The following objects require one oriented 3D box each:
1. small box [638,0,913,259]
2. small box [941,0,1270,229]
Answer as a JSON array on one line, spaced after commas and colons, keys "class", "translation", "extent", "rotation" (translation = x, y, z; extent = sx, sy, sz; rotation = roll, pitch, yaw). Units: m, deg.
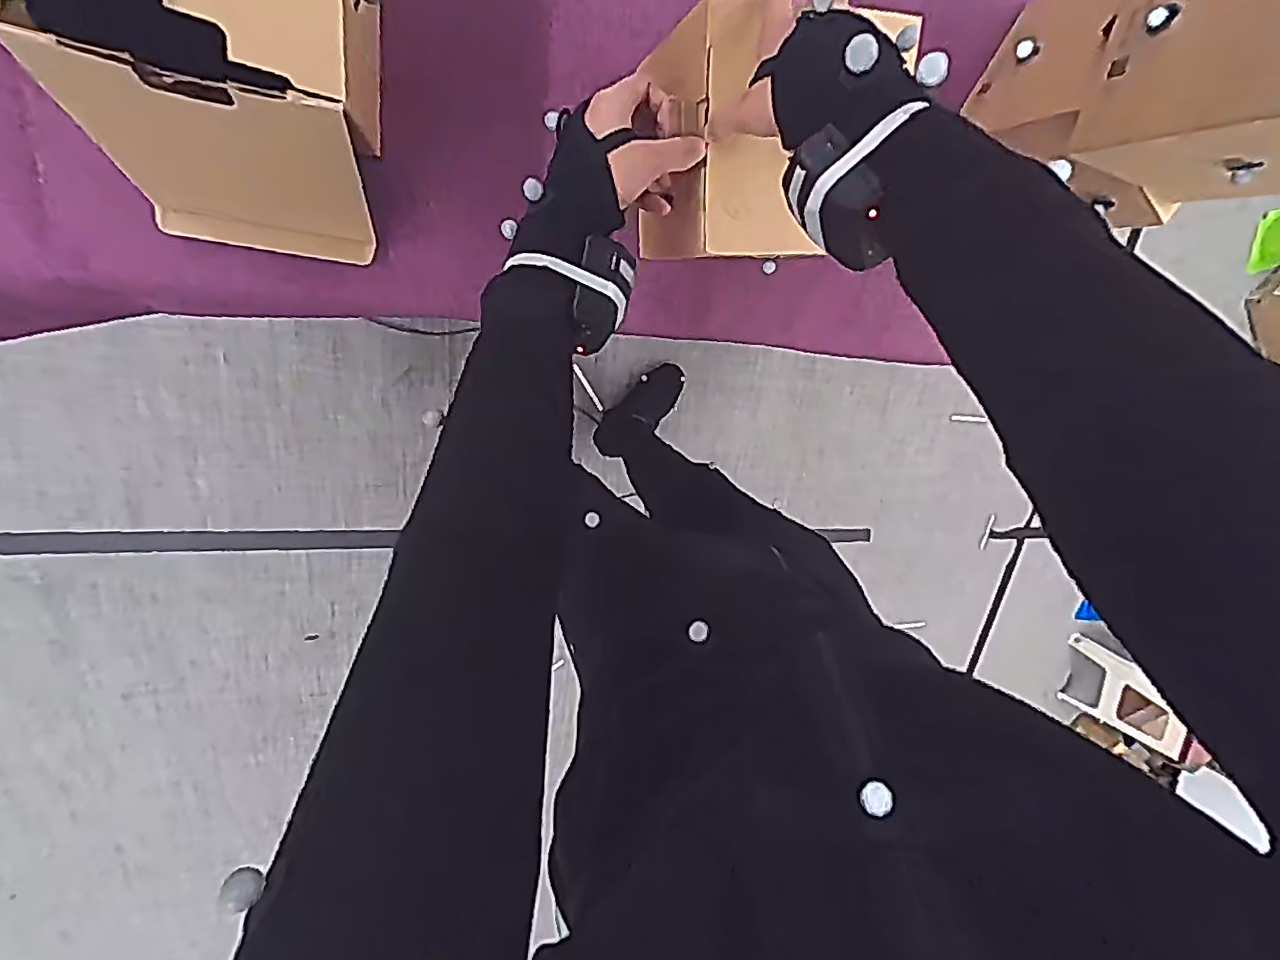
[{"class": "small box", "translation": [0.100, -0.288, 0.483], "extent": [0.179, 0.176, 0.168], "rotation": [-7, 114, -16]}, {"class": "small box", "translation": [0.469, -0.387, 0.565], "extent": [0.179, 0.176, 0.168], "rotation": [27, 100, -25]}]
